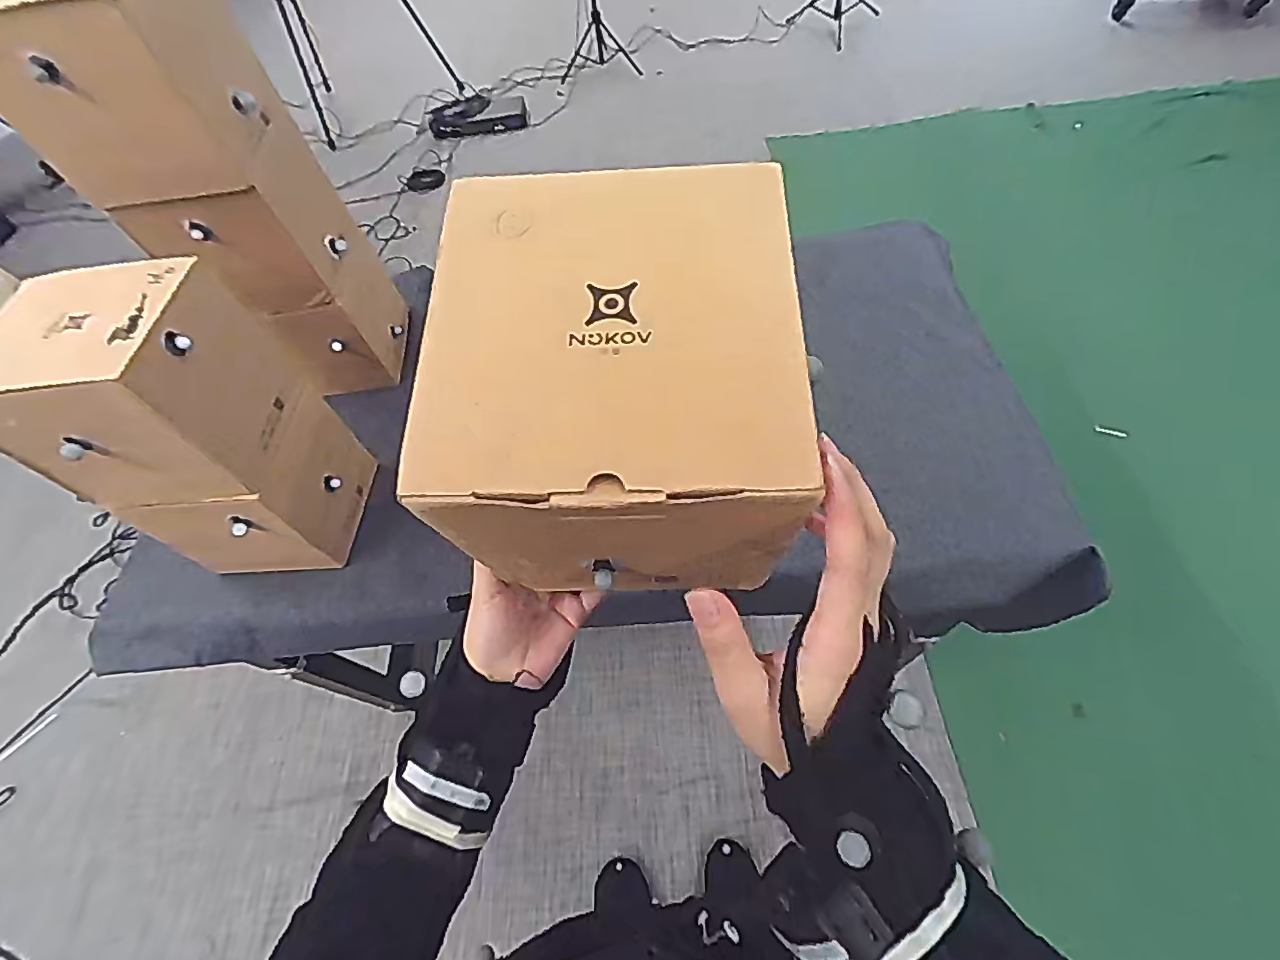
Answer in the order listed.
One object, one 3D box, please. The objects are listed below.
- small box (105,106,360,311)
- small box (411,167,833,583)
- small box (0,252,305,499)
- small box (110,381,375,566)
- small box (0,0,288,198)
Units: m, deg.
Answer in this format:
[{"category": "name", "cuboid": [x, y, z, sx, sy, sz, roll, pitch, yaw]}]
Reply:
[{"category": "small box", "cuboid": [-0.497, -0.337, 0.692, 0.179, 0.176, 0.168, -8, 61, 0]}, {"category": "small box", "cuboid": [-0.005, -0.044, 0.312, 0.168, 0.176, 0.179, -1, 69, 2]}, {"category": "small box", "cuboid": [-0.485, -0.094, 0.538, 0.179, 0.176, 0.168, -7, 56, 3]}, {"category": "small box", "cuboid": [-0.465, -0.002, 0.672, 0.179, 0.176, 0.168, -3, 56, 5]}, {"category": "small box", "cuboid": [-0.508, -0.412, 0.546, 0.179, 0.176, 0.168, -6, 61, 2]}]
